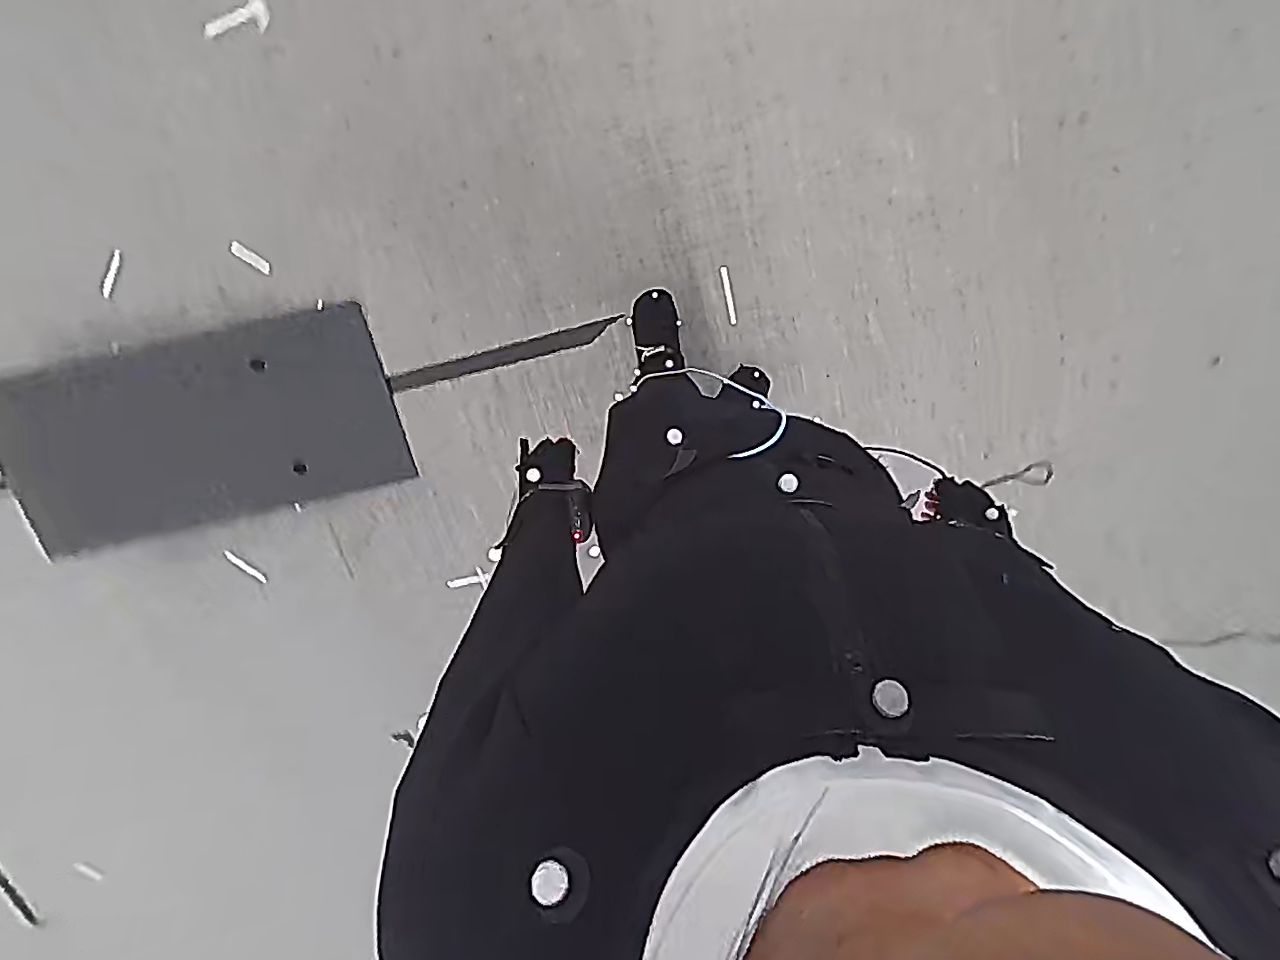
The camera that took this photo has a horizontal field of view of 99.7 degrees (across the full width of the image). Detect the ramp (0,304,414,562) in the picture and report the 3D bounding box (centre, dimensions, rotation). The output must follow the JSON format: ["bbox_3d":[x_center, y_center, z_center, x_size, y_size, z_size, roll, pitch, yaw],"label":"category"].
[{"bbox_3d":[-1.168,-0.119,1.435,0.991,0.206,0.509,-12,105,7],"label":"ramp"}]
